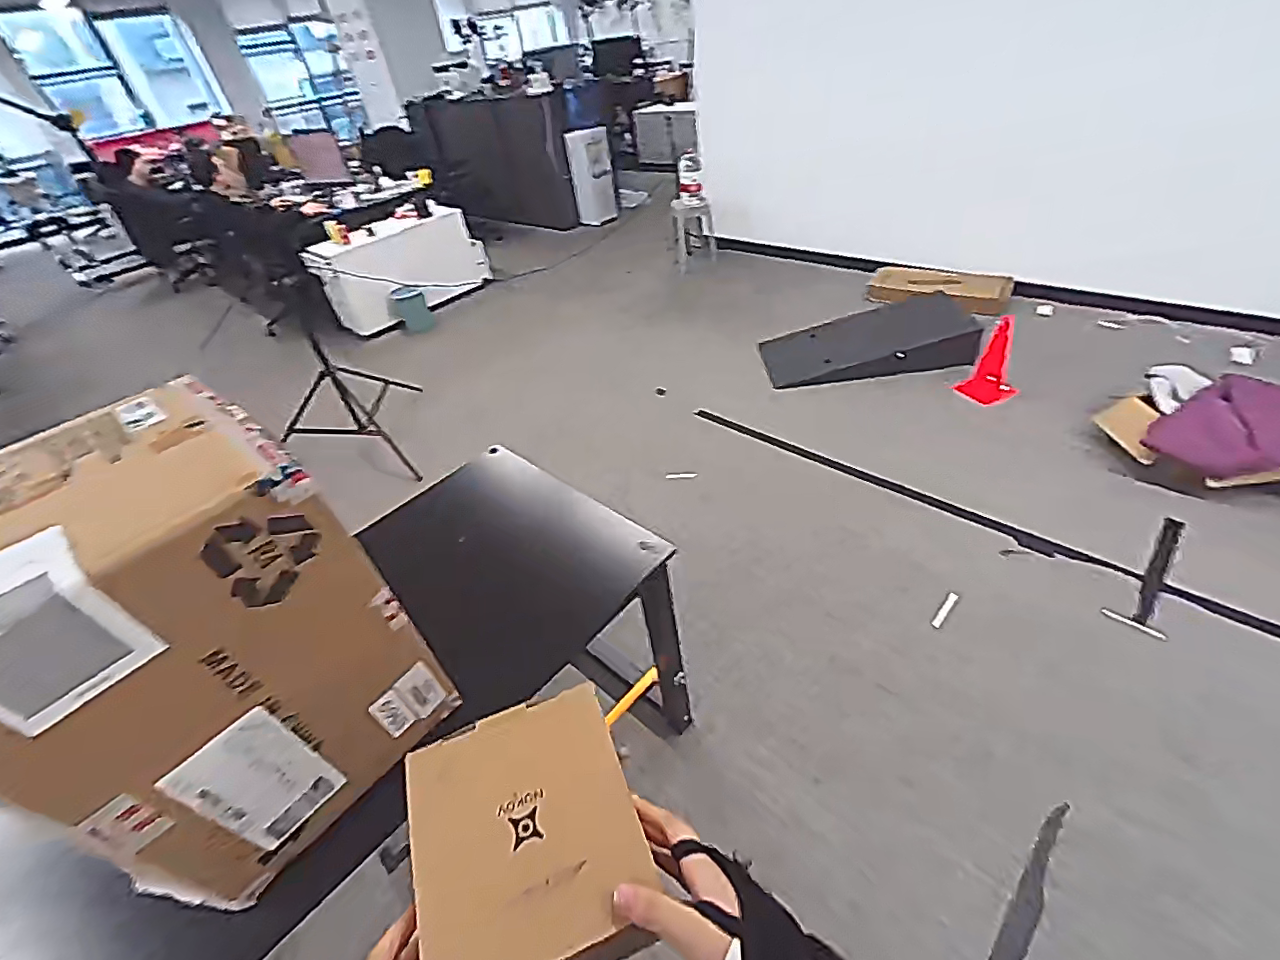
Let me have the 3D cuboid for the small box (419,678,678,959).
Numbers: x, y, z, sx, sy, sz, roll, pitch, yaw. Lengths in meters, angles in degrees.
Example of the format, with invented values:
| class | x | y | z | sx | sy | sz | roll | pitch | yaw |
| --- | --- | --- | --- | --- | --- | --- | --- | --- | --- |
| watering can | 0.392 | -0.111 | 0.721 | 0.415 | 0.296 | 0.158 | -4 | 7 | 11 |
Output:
| class | x | y | z | sx | sy | sz | roll | pitch | yaw |
| --- | --- | --- | --- | --- | --- | --- | --- | --- | --- |
| small box | -0.076 | 0.311 | 0.467 | 0.168 | 0.176 | 0.179 | -17 | 47 | -13 |
